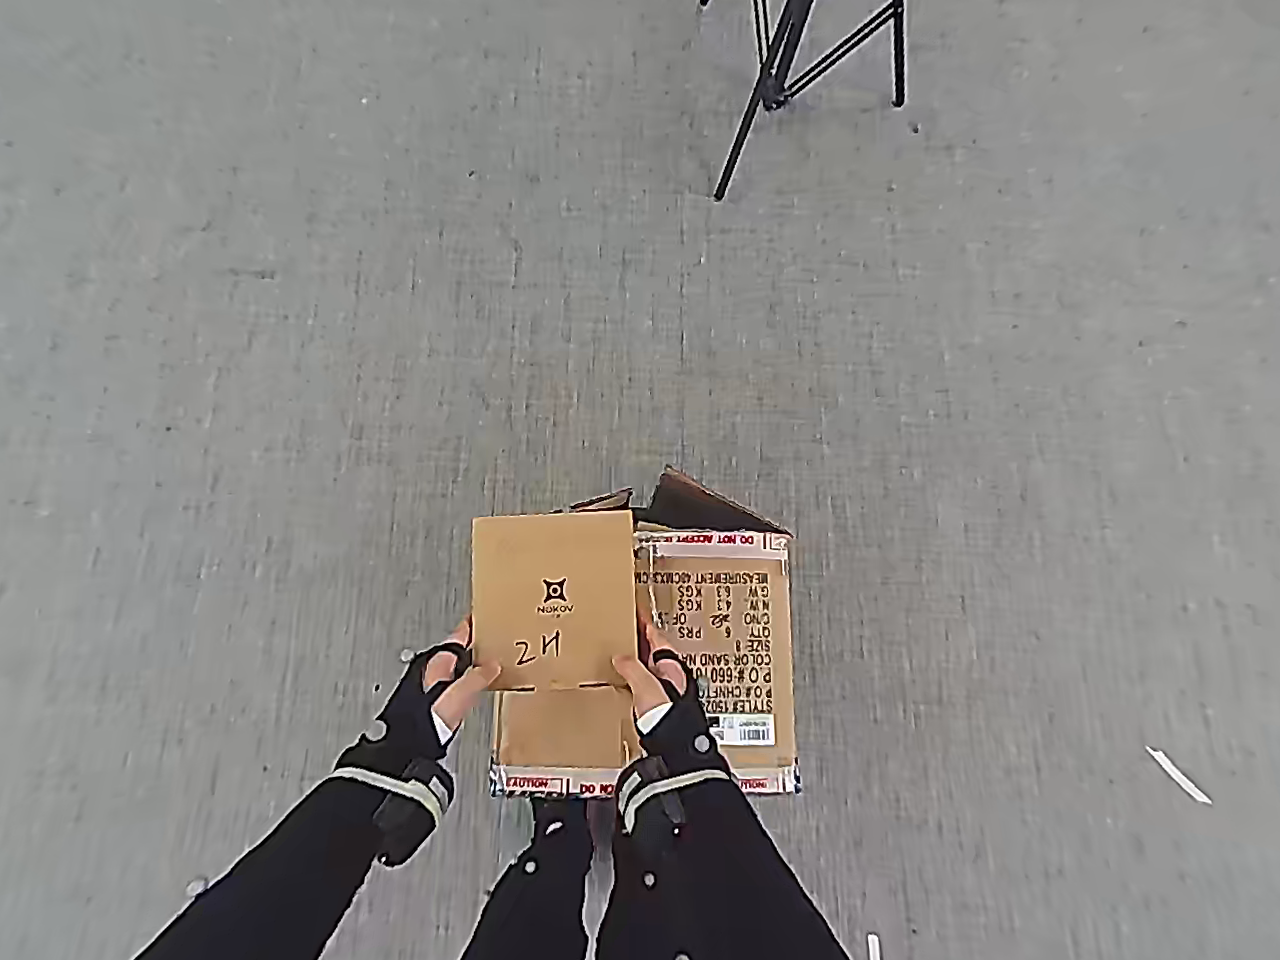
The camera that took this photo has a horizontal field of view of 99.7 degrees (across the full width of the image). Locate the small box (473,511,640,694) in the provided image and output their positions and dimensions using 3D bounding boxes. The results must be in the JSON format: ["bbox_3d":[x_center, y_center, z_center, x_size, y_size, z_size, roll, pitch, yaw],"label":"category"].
[{"bbox_3d":[-0.088,0.133,0.623,0.168,0.176,0.179,-3,82,-1],"label":"small box"}]
